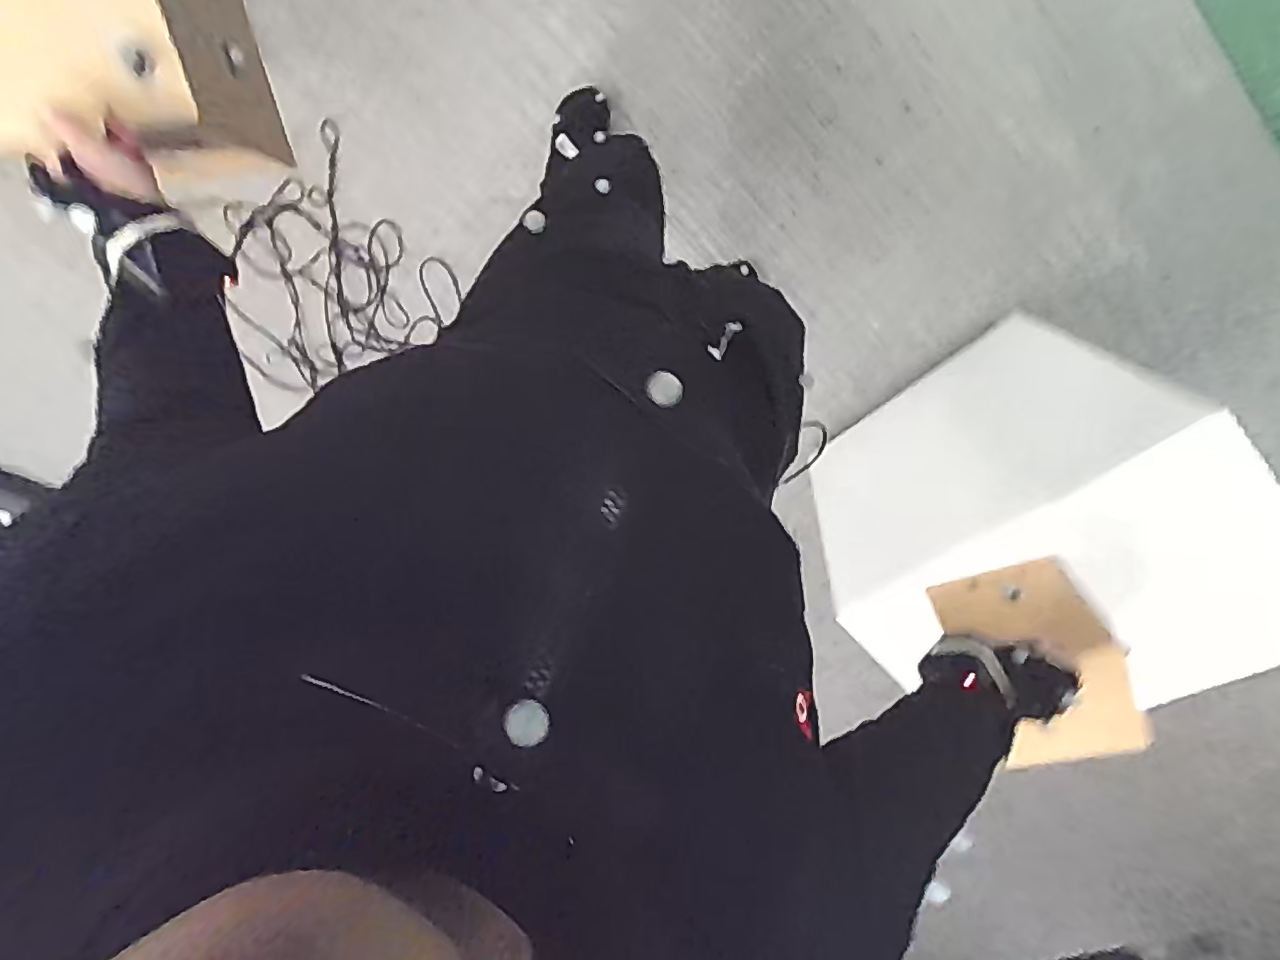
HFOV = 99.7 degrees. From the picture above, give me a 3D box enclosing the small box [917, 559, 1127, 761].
[{"bbox_3d":[0.494,0.236,0.720,0.168,0.176,0.179,-22,112,22],"label":"small box"}]
